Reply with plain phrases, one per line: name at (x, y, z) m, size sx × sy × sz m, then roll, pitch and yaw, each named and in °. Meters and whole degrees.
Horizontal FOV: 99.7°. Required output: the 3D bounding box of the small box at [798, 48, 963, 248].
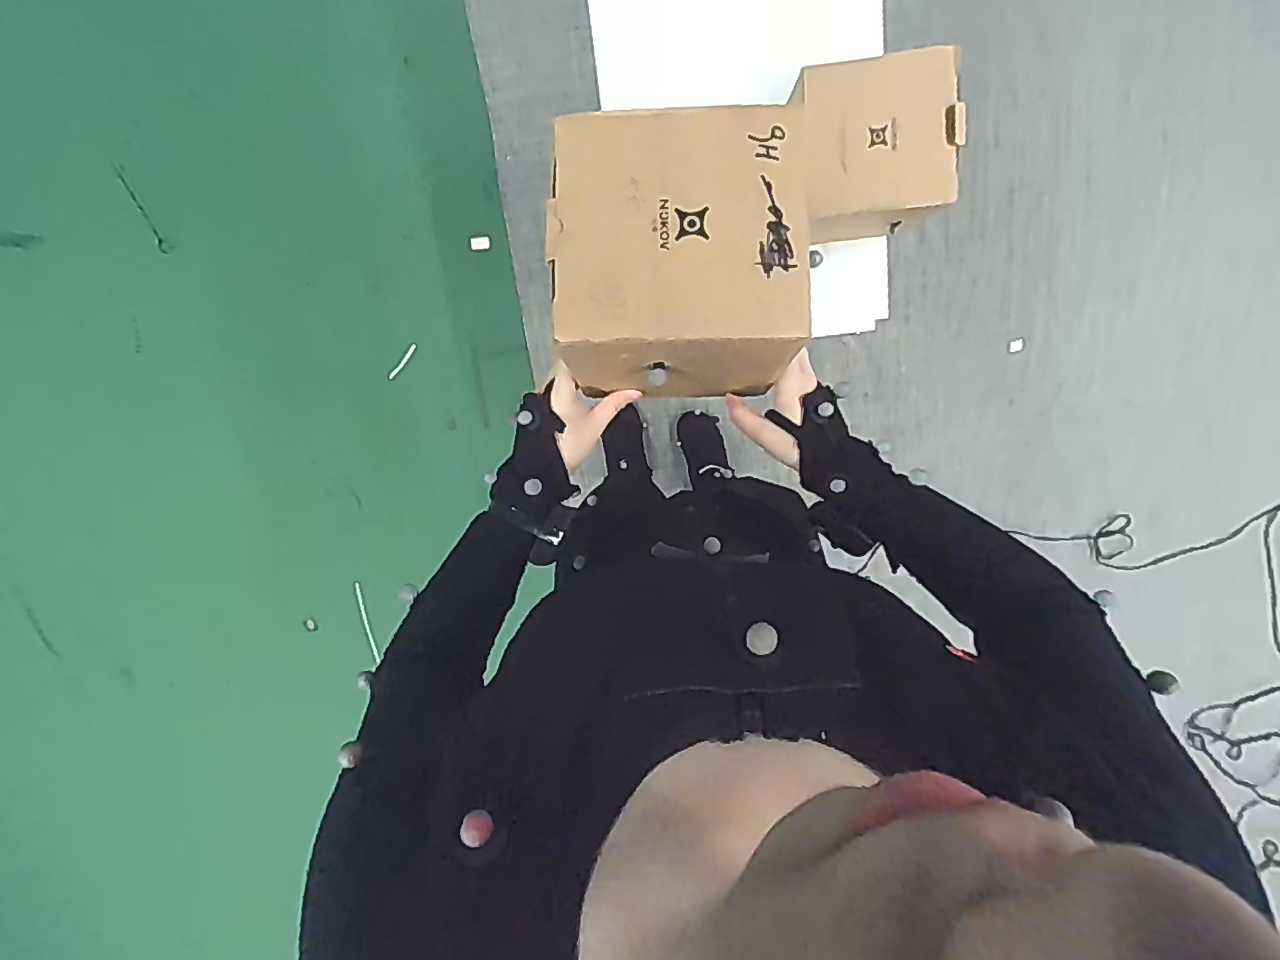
small box at (0.284, -0.409, 0.699) m, size 0.179 × 0.176 × 0.168 m, roll -6°, pitch 102°, yaw 5°

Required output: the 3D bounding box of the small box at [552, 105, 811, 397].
small box at (0.032, -0.168, 0.447) m, size 0.179 × 0.176 × 0.168 m, roll 0°, pitch 85°, yaw 3°
